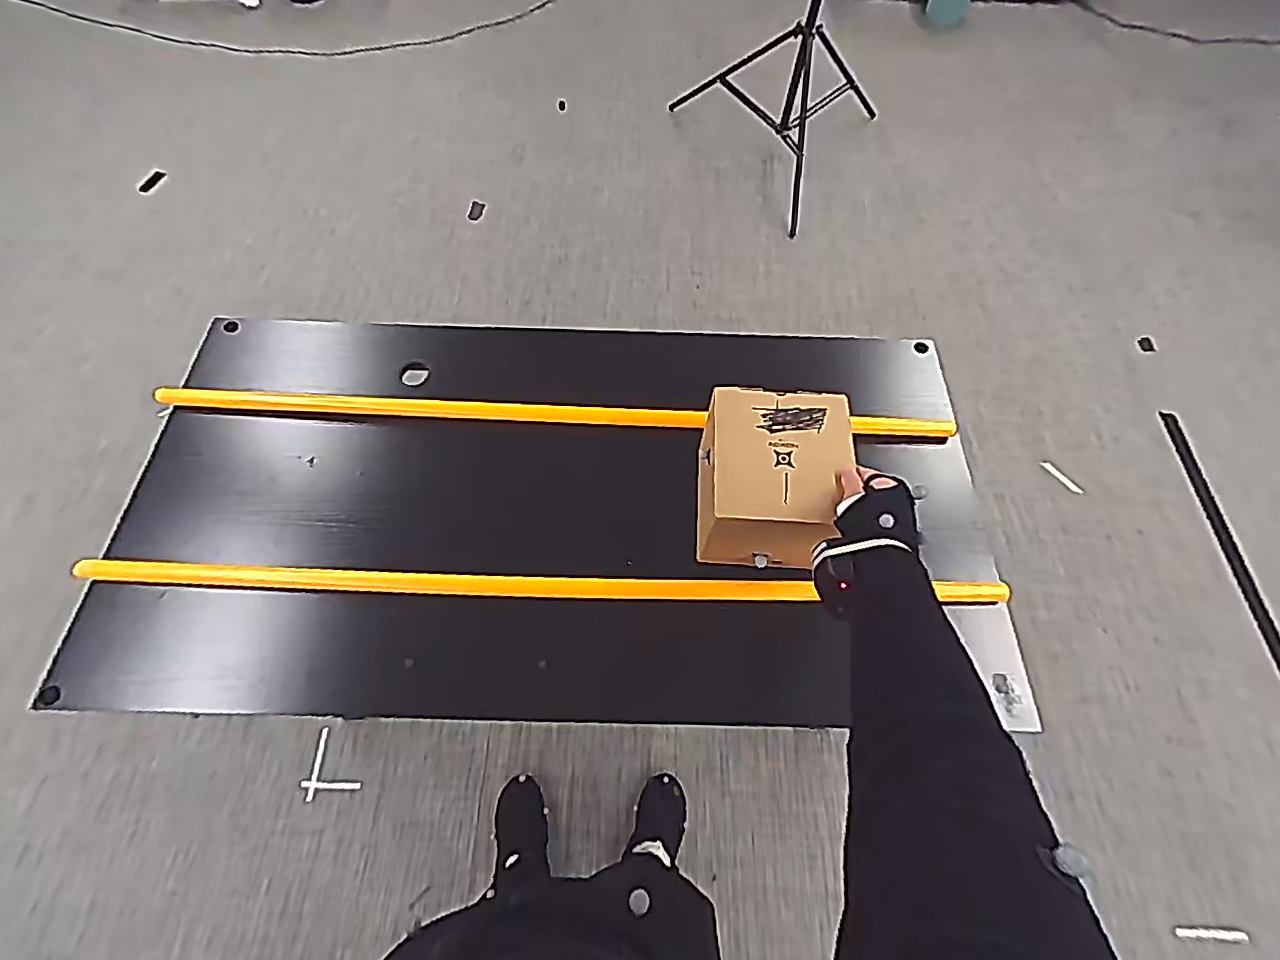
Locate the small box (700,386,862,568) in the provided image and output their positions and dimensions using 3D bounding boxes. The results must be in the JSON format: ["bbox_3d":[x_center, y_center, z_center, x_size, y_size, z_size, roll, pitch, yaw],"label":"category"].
[{"bbox_3d":[0.169,0.002,0.705,0.168,0.176,0.179,4,65,1],"label":"small box"}]
